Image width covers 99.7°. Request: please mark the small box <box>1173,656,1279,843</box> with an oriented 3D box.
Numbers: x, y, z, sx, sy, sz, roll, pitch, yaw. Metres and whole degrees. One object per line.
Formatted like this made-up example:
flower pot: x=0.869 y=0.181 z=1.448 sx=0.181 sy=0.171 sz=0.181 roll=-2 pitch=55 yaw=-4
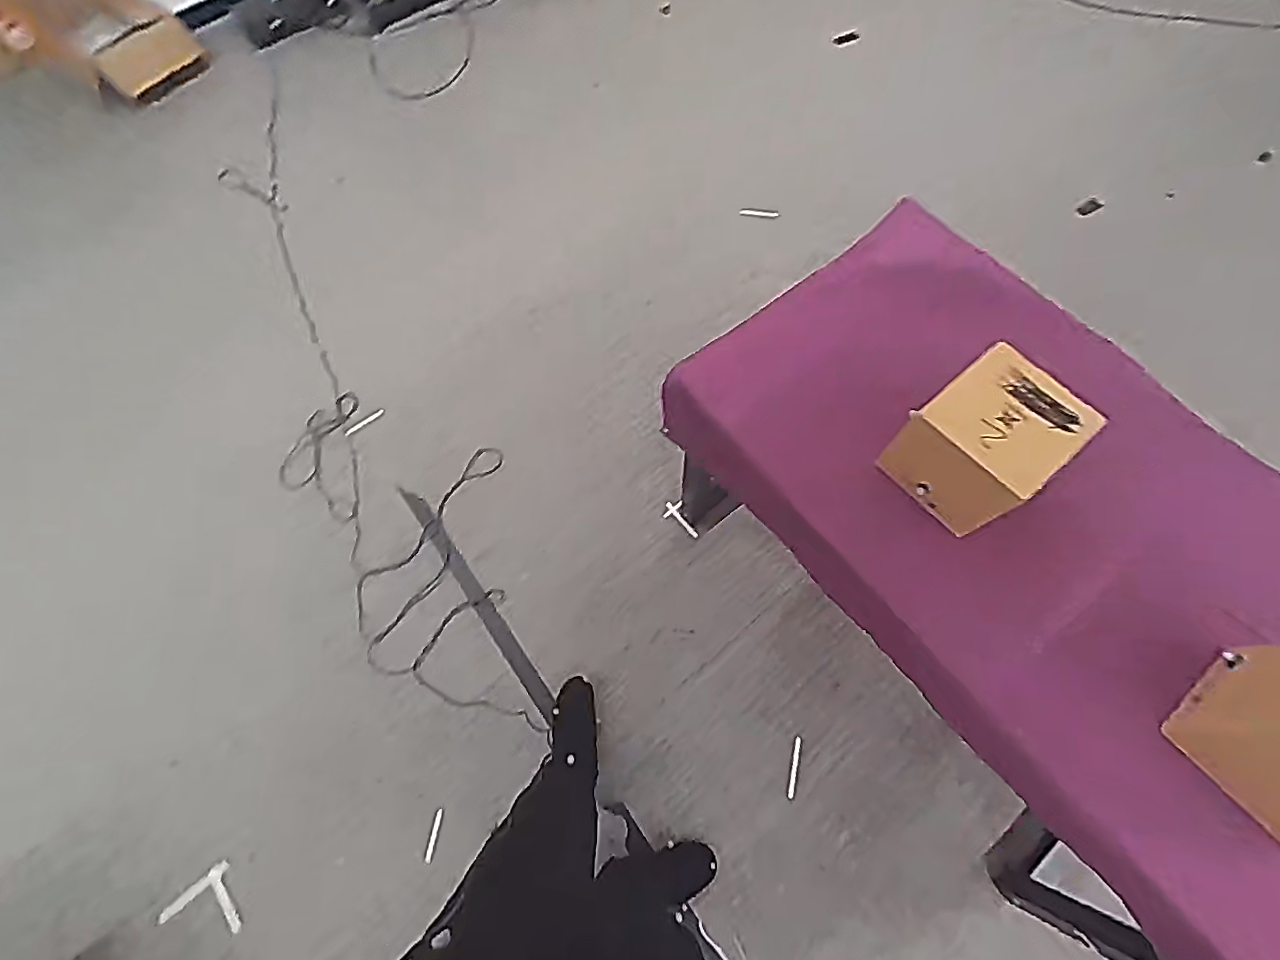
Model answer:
small box: x=0.786 y=0.313 z=0.611 sx=0.168 sy=0.176 sz=0.179 roll=-37 pitch=71 yaw=-12
